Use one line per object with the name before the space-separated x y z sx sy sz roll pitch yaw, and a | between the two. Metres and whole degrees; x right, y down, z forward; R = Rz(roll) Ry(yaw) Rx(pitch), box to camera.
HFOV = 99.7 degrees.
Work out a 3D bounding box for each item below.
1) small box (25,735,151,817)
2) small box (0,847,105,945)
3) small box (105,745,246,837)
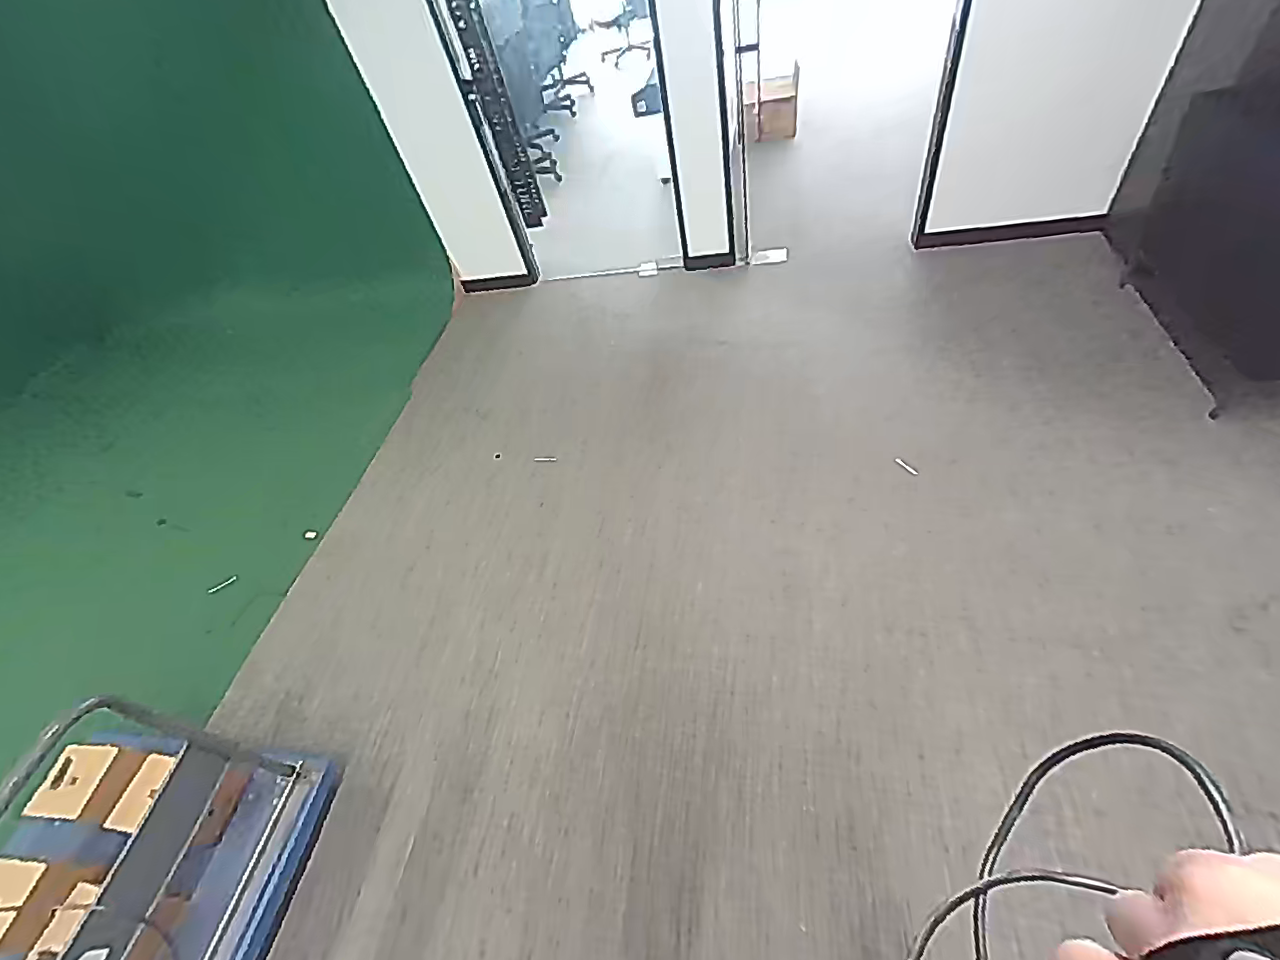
small box | -1.446 0.800 1.453 0.179 0.176 0.168 -2 51 10
small box | -1.467 0.994 1.295 0.179 0.176 0.168 -2 49 11
small box | -1.183 0.803 1.392 0.179 0.176 0.168 2 51 13
